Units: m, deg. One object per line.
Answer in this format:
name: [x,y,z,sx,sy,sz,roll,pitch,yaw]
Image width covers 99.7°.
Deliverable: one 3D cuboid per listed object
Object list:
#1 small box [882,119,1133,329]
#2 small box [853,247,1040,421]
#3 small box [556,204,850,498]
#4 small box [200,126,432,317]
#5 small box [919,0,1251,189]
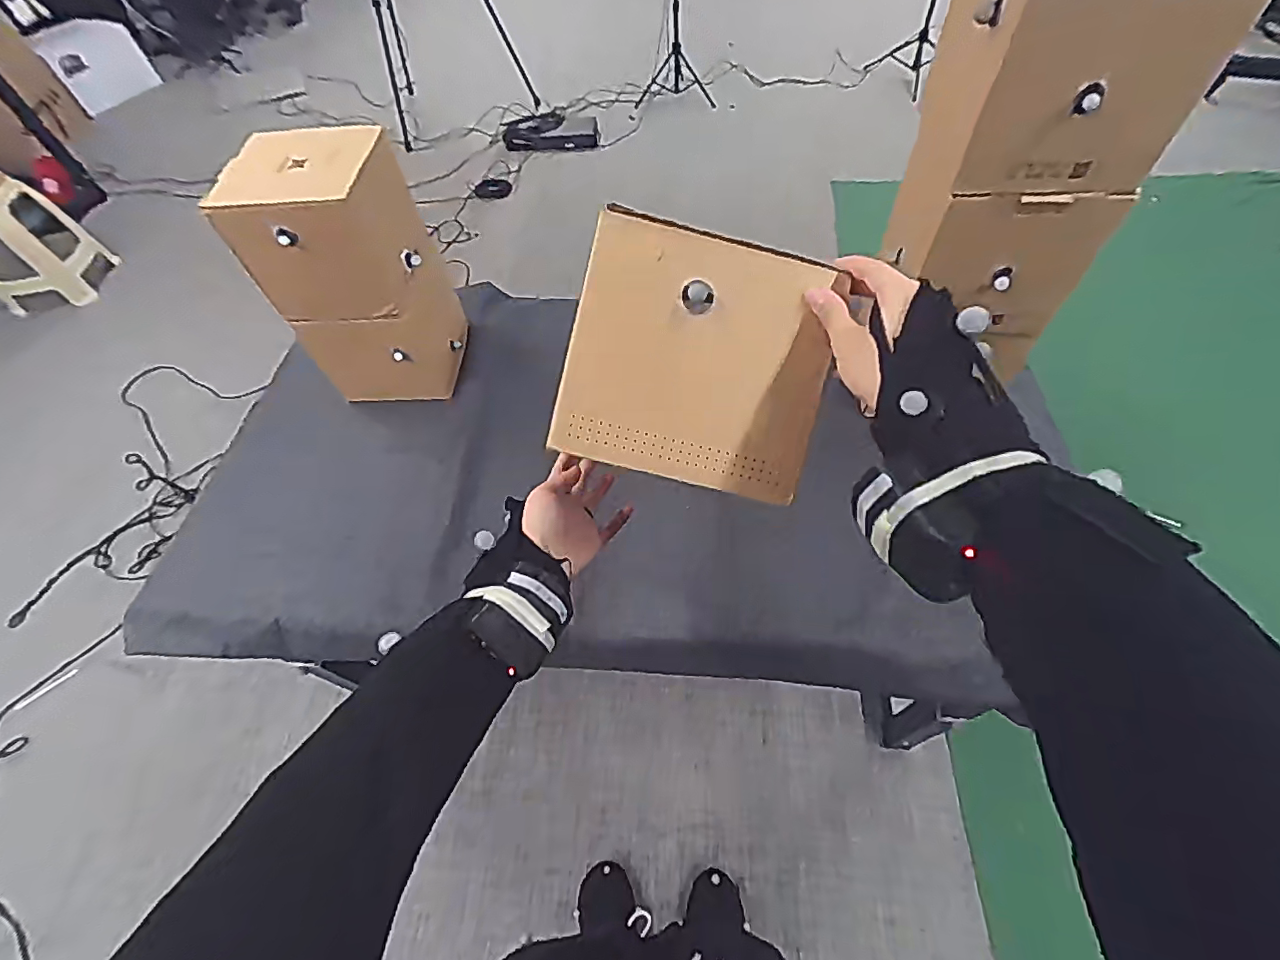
small box: [0.392,-0.292,0.618,0.168,0.176,0.179,4,59,7]
small box: [0.408,-0.207,0.757,0.168,0.176,0.179,4,58,8]
small box: [0.039,-0.088,0.443,0.179,0.168,0.176,14,95,-2]
small box: [-0.403,-0.331,0.710,0.179,0.176,0.168,-1,58,2]
small box: [0.373,-0.382,0.480,0.168,0.176,0.179,3,57,6]
